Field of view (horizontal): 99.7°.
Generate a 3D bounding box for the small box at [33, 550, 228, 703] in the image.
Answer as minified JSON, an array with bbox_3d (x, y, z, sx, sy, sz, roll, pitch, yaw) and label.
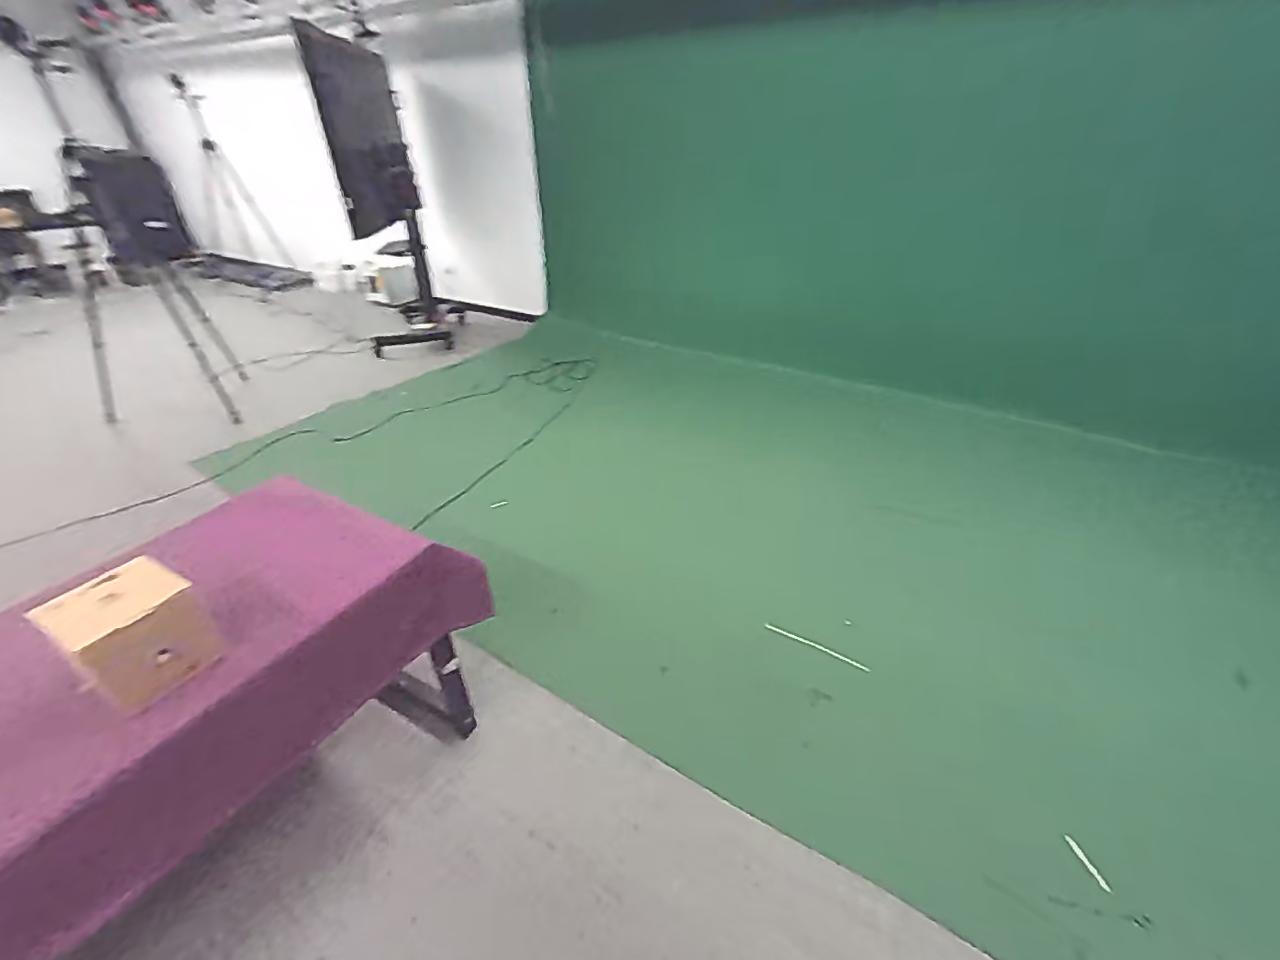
[{"bbox_3d":[-0.877,0.258,0.947,0.179,0.176,0.168,18,37,24],"label":"small box"}]
